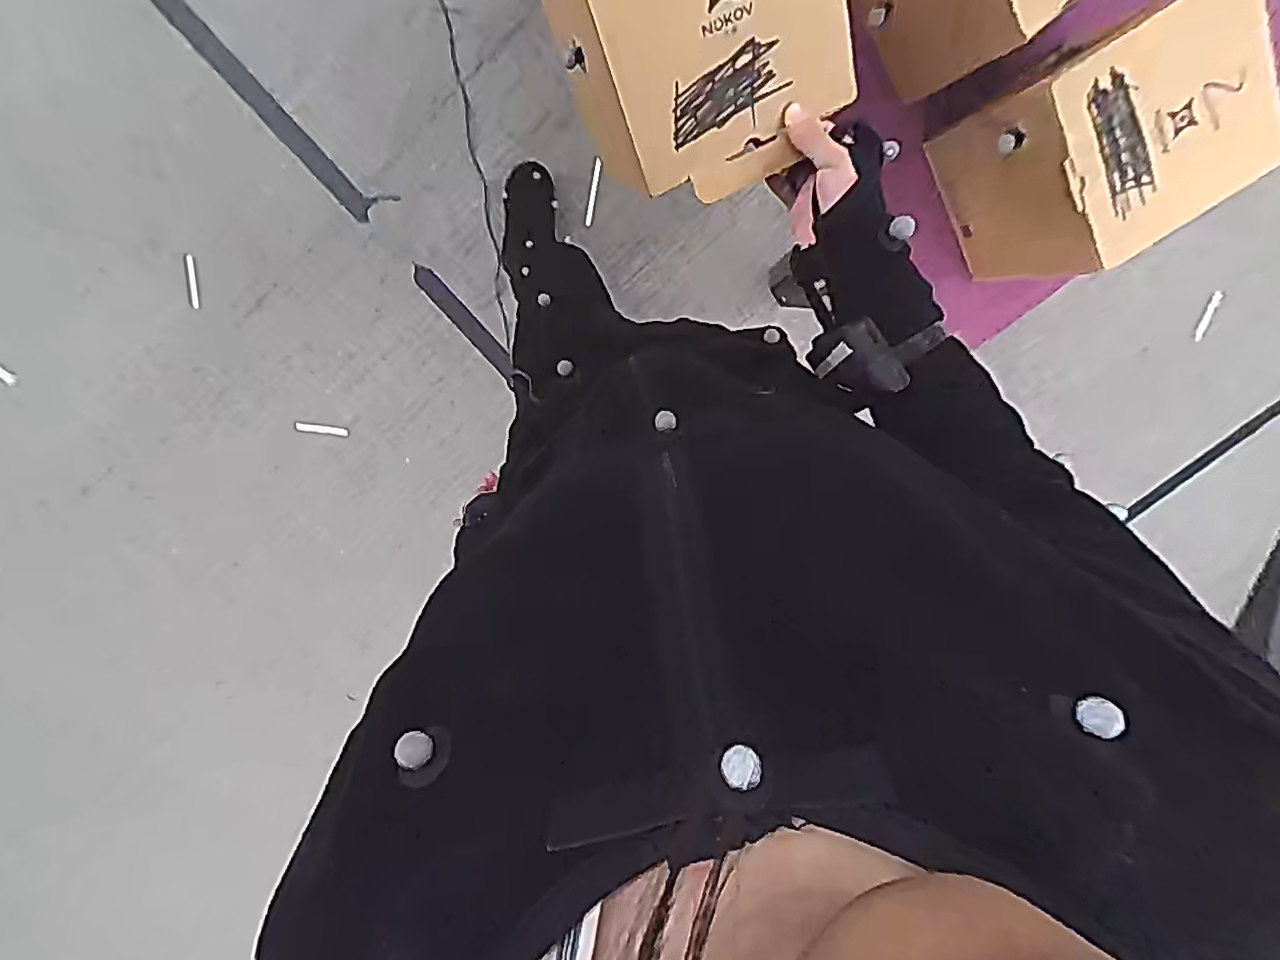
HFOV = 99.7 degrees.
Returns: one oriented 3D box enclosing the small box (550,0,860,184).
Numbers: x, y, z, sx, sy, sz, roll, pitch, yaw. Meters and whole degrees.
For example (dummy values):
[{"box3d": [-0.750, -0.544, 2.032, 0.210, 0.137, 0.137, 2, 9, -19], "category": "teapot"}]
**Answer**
[{"box3d": [0.033, -0.349, 0.395, 0.168, 0.176, 0.179, -25, 126, 0], "category": "small box"}]
